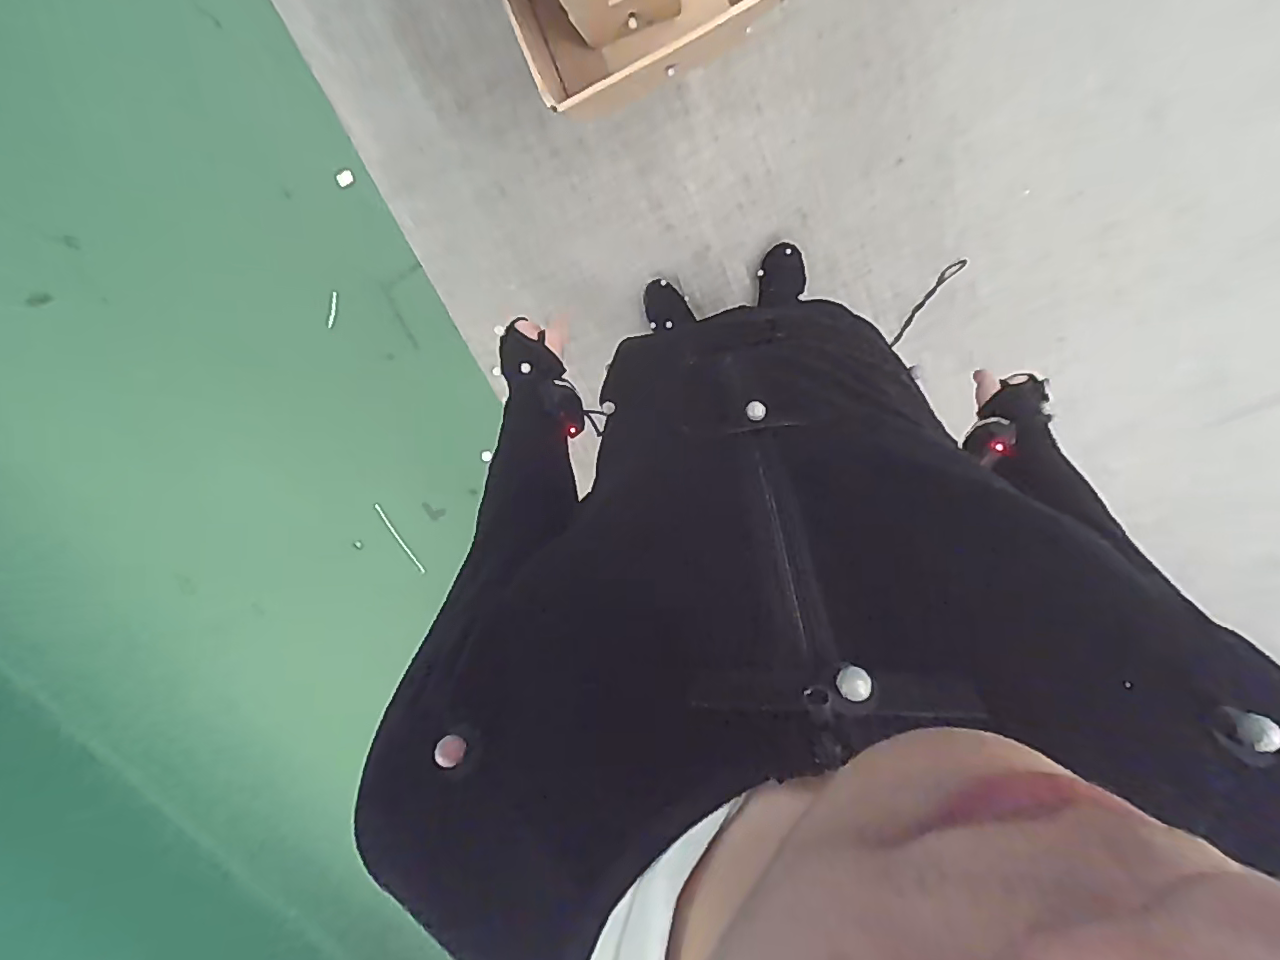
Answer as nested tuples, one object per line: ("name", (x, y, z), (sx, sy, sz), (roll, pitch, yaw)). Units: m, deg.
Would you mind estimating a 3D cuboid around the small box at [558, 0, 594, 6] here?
("small box", (-0.066, -0.734, 0.668), (0.168, 0.176, 0.179), (-13, 112, 13))
